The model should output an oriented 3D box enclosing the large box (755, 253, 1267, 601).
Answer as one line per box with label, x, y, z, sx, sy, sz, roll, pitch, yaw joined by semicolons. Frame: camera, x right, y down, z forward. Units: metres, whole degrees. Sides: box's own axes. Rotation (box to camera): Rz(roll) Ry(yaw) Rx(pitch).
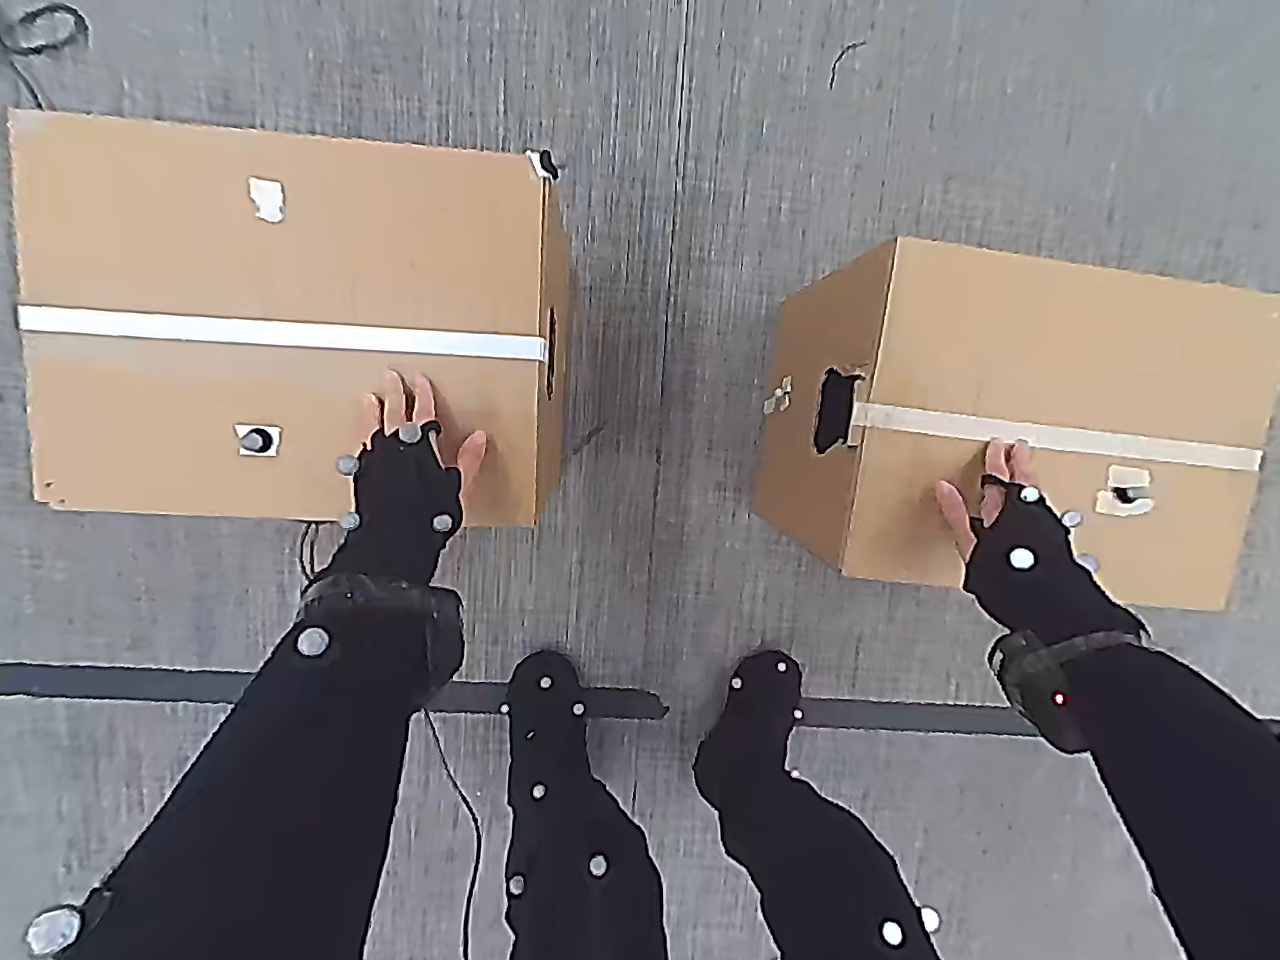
large box;0.394;-0.059;0.677;0.408;0.320;0.320;6;97;-6
